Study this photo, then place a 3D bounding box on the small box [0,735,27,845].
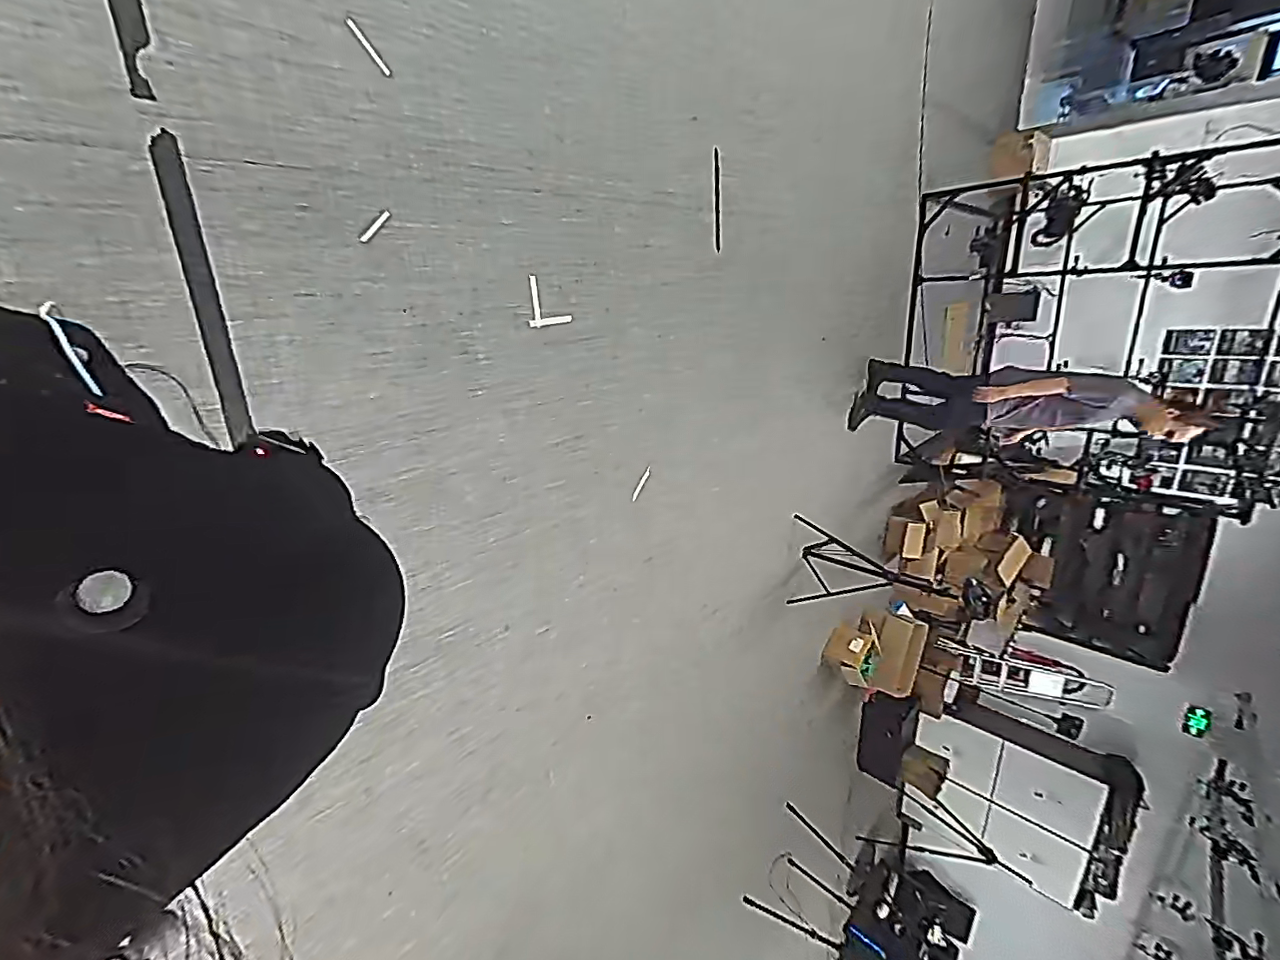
[{"bbox_3d":[-1.256,0.599,0.973,0.179,0.176,0.168,-18,114,-42],"label":"small box"}]
